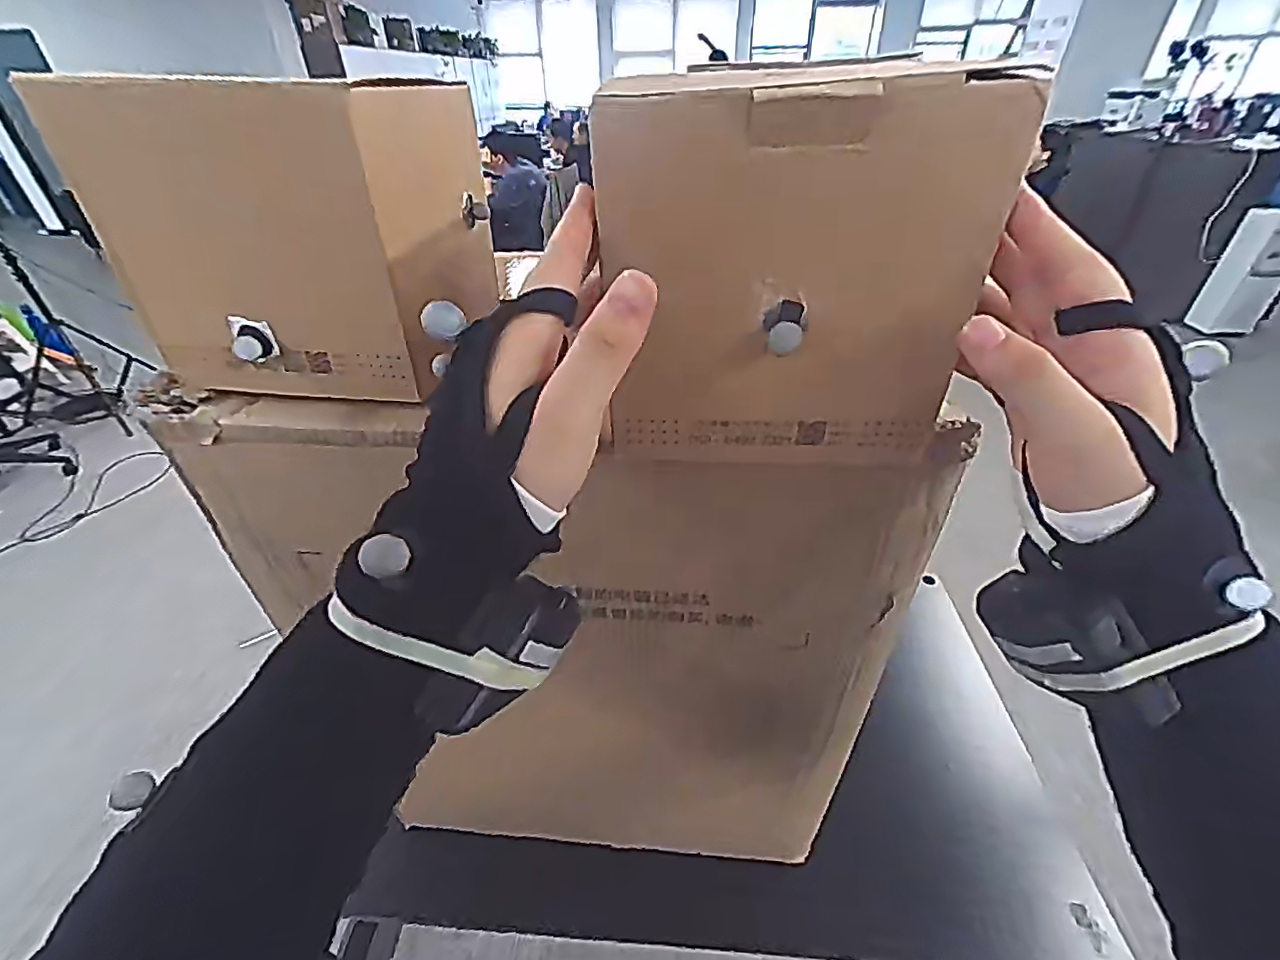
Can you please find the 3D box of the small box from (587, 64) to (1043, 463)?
[{"bbox_3d":[0.072,-0.122,0.308,0.168,0.176,0.179,1,39,5],"label":"small box"}]

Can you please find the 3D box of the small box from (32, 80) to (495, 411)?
[{"bbox_3d":[-0.207,-0.164,0.368,0.168,0.176,0.179,2,37,4],"label":"small box"}]
